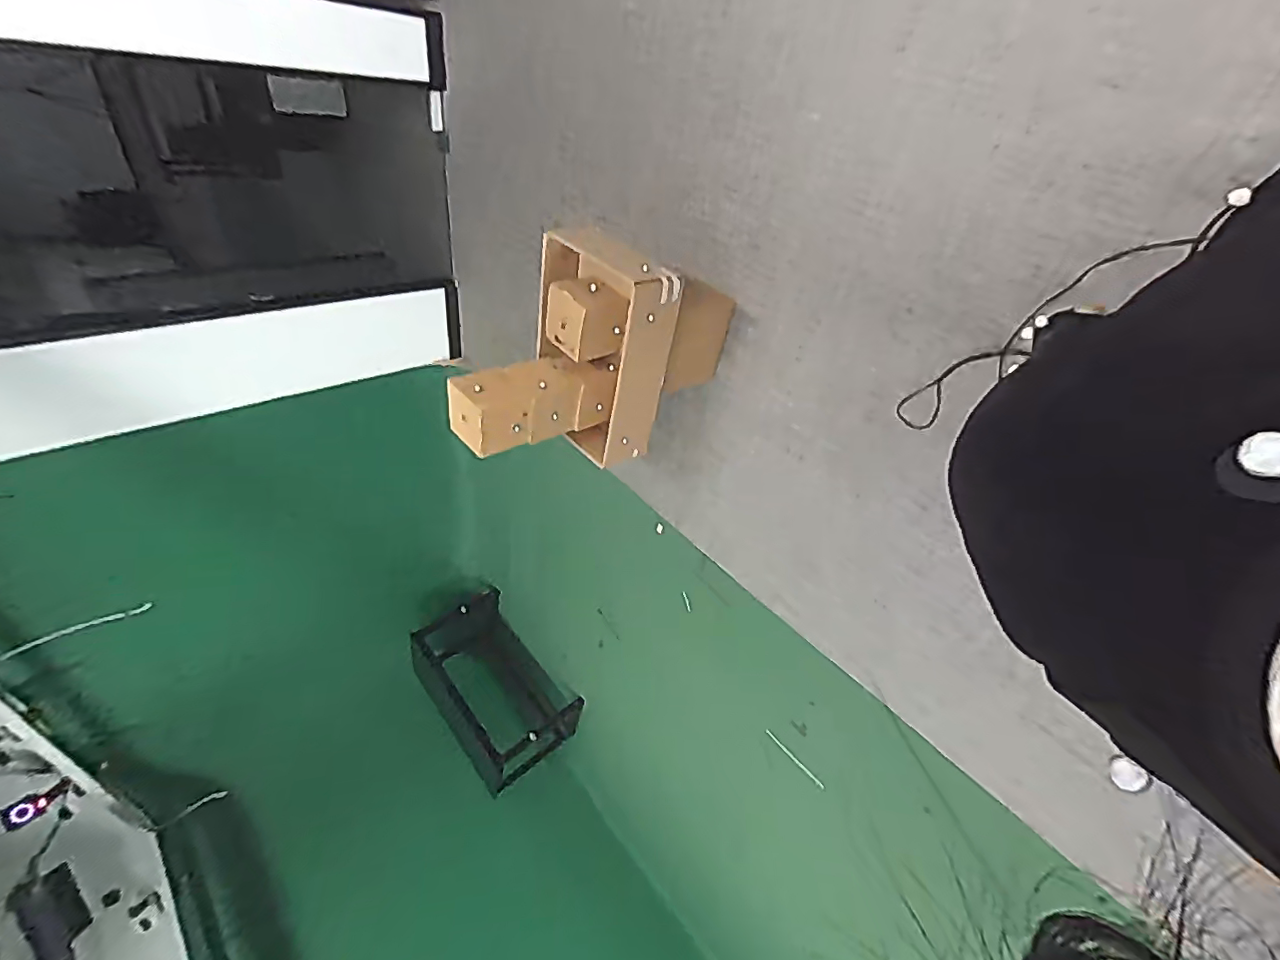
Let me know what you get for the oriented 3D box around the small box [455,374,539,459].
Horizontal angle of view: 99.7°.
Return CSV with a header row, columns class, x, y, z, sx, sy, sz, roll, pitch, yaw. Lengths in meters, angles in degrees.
class,x,y,z,sx,sy,sz,roll,pitch,yaw
small box,-0.411,-0.191,1.554,0.179,0.176,0.168,39,135,31
